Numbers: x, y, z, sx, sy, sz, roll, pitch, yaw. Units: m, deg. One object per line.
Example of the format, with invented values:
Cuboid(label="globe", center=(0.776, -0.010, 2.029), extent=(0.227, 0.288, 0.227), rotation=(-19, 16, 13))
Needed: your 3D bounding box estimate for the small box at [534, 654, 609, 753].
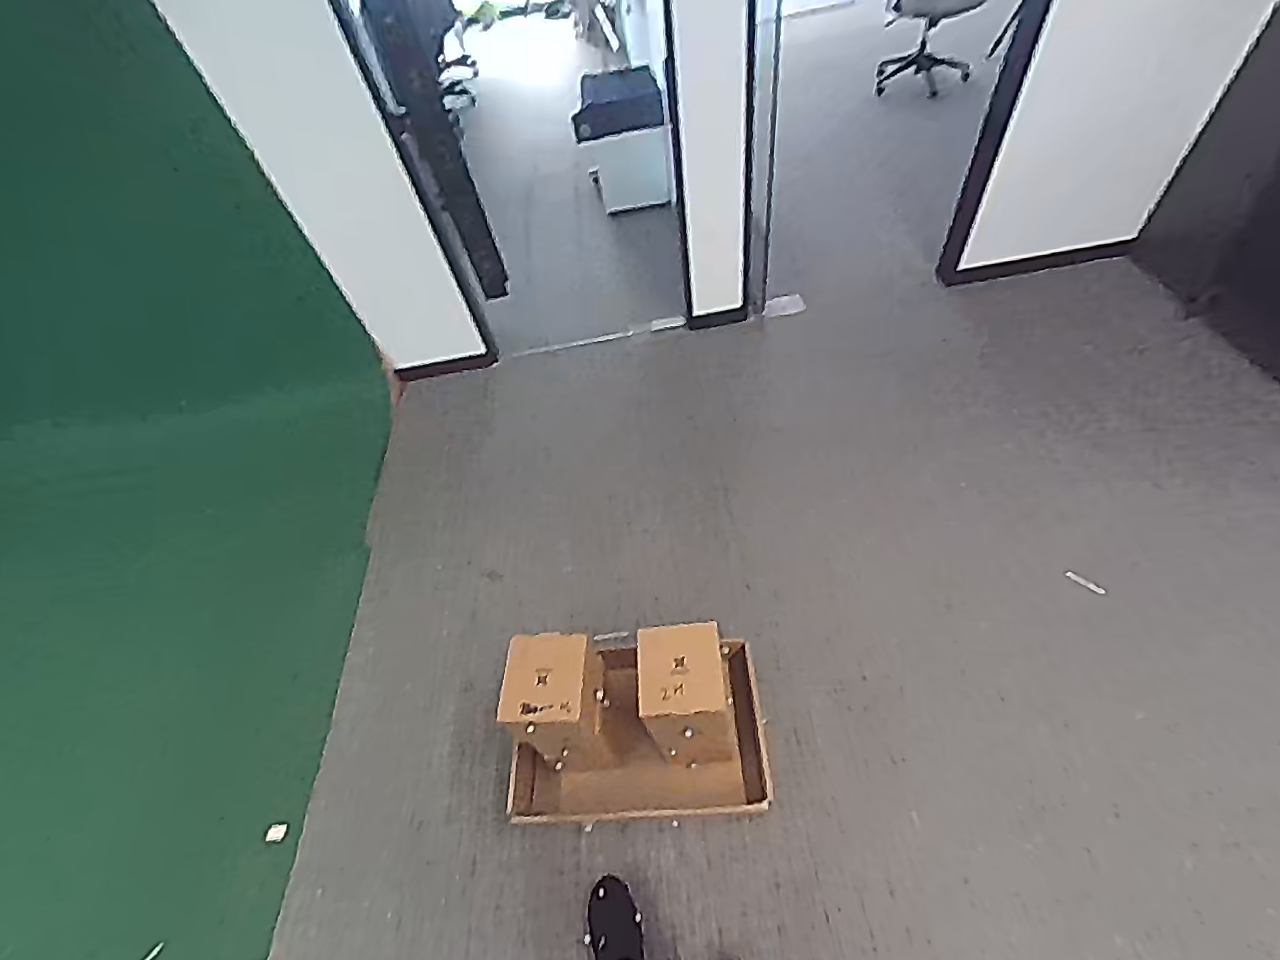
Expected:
Cuboid(label="small box", center=(-0.167, 0.528, 1.274), extent=(0.168, 0.176, 0.179), rotation=(-4, 51, 5))

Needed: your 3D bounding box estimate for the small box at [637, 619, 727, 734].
Cuboid(label="small box", center=(0.087, 0.408, 1.115), extent=(0.168, 0.176, 0.179), rotation=(-7, 51, 7))

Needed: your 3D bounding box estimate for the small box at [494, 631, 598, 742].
Cuboid(label="small box", center=(-0.187, 0.435, 1.139), extent=(0.168, 0.176, 0.179), rotation=(-2, 50, 7))

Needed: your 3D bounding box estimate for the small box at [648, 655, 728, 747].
Cuboid(label="small box", center=(0.112, 0.506, 1.245), extent=(0.168, 0.176, 0.179), rotation=(-5, 50, 8))
